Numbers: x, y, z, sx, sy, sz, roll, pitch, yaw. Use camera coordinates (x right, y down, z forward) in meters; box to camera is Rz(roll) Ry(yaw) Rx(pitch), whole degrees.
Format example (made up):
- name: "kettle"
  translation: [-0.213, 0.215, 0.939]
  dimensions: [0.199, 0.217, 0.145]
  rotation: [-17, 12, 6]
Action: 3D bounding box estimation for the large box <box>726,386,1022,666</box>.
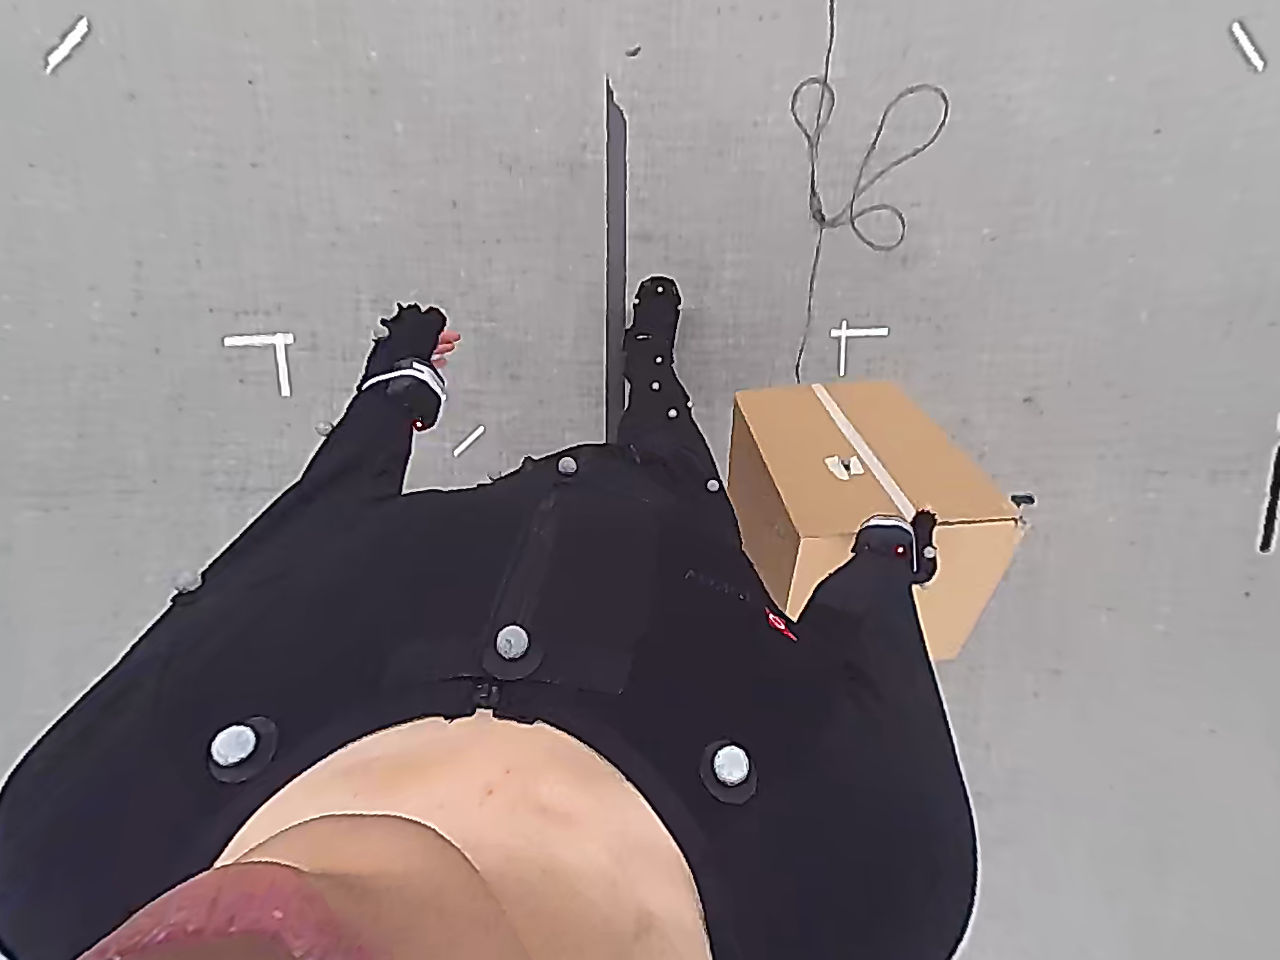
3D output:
- name: "large box"
  translation: [0.358, 0.066, 0.978]
  dimensions: [0.320, 0.408, 0.320]
  rotation: [-5, 128, -3]
